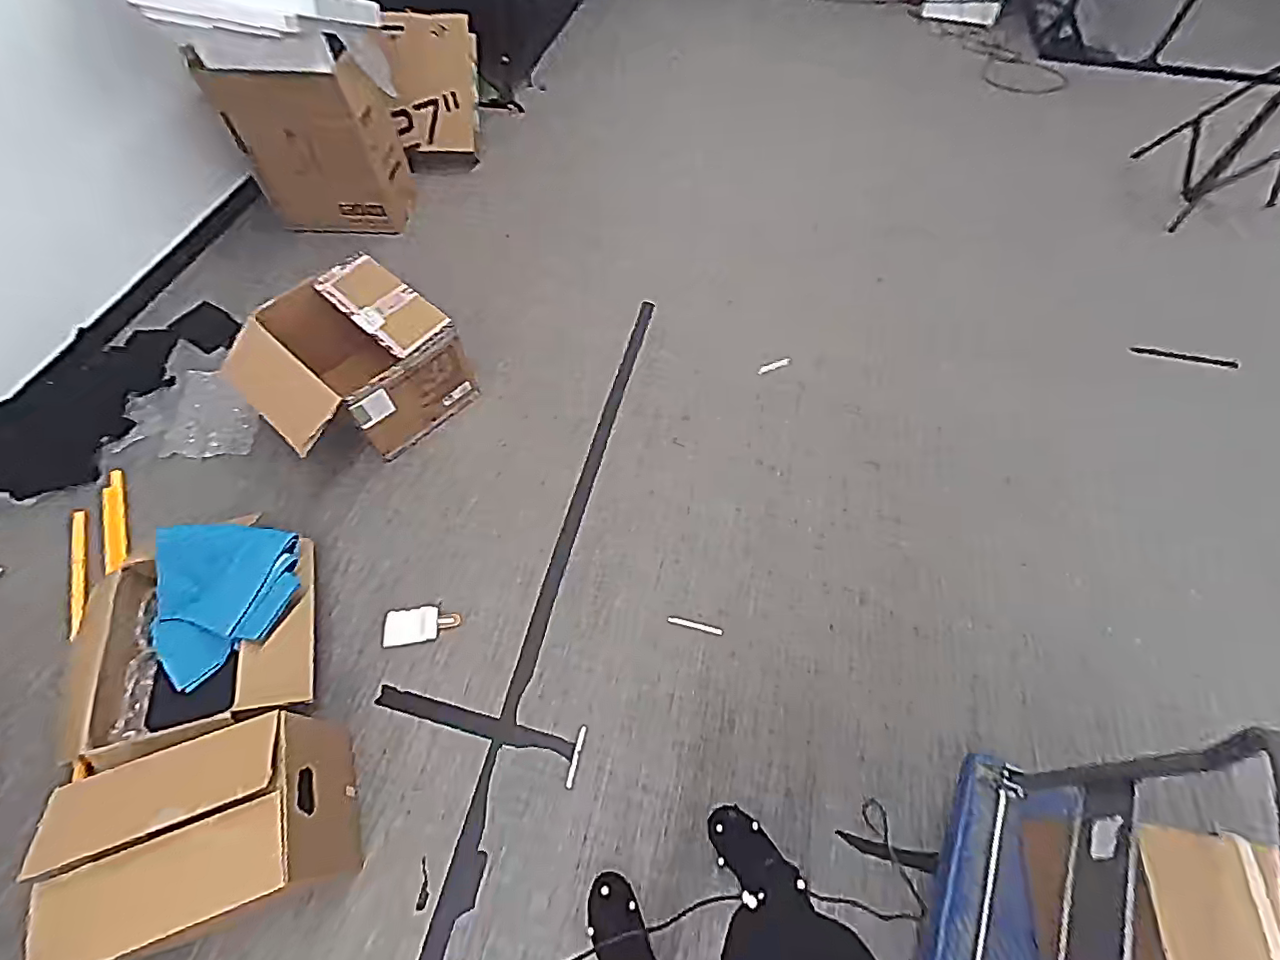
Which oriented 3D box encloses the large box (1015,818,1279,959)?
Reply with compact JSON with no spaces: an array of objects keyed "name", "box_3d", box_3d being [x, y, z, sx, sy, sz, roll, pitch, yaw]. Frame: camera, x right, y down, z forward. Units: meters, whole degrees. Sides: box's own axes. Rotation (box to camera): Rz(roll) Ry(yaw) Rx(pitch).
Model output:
[{"name":"large box","box_3d":[0.879,0.801,0.865,0.320,0.320,0.408,8,59,5]}]
